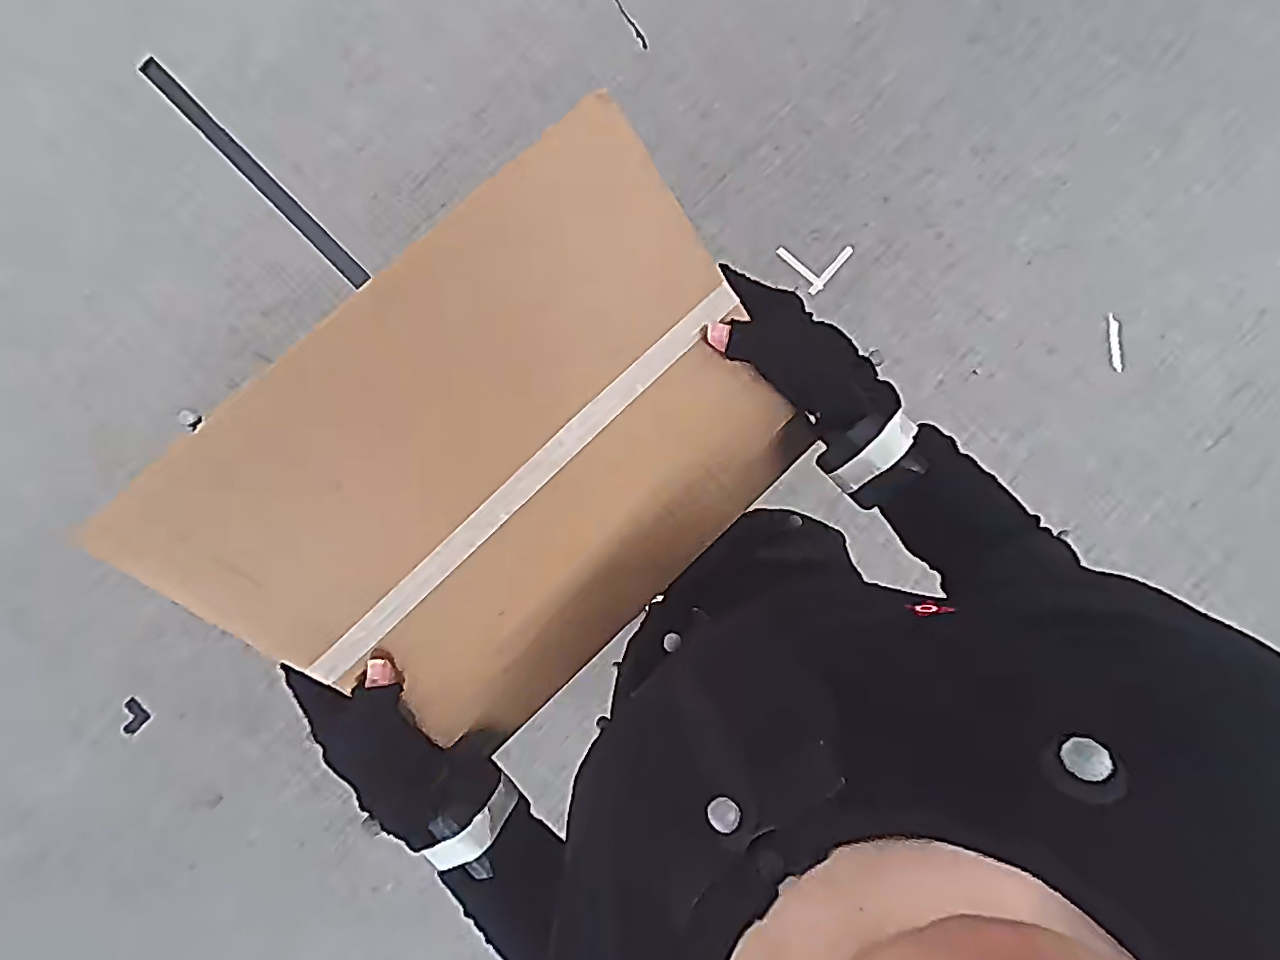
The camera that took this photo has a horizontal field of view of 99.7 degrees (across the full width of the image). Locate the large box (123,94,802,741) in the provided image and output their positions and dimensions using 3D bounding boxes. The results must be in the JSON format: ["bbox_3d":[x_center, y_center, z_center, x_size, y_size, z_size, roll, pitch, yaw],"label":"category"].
[{"bbox_3d":[-0.137,-0.055,0.533,0.408,0.320,0.320,-43,119,-4],"label":"large box"}]
